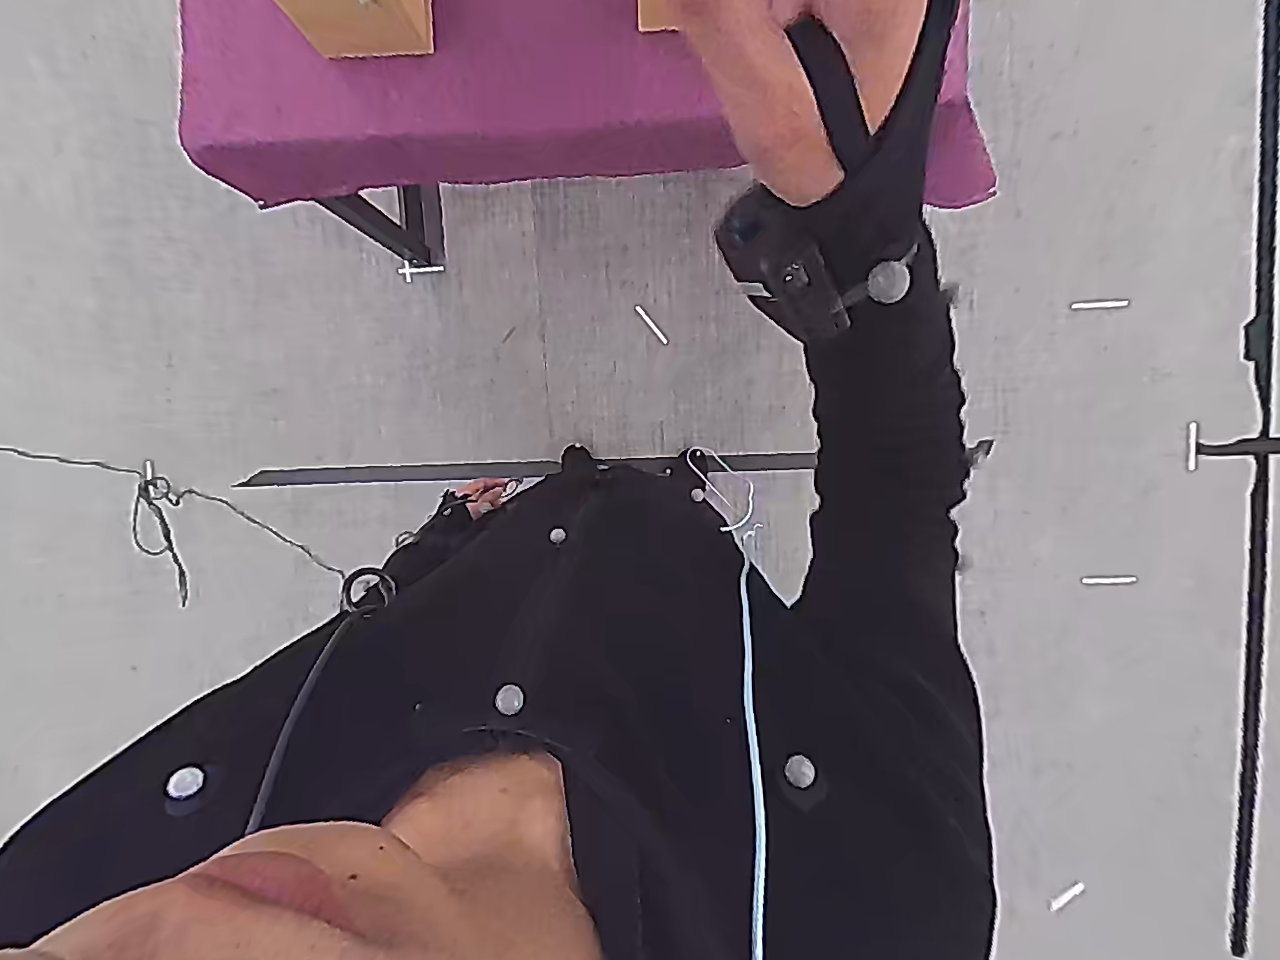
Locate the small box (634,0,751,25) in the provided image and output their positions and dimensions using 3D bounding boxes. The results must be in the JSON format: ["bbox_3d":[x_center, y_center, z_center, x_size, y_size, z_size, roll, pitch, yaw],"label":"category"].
[{"bbox_3d":[0.075,-0.765,0.734,0.179,0.176,0.168,-1,95,2],"label":"small box"}]

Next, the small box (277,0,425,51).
[{"bbox_3d":[-0.413,-0.740,0.752,0.179,0.176,0.168,0,95,2],"label":"small box"}]
